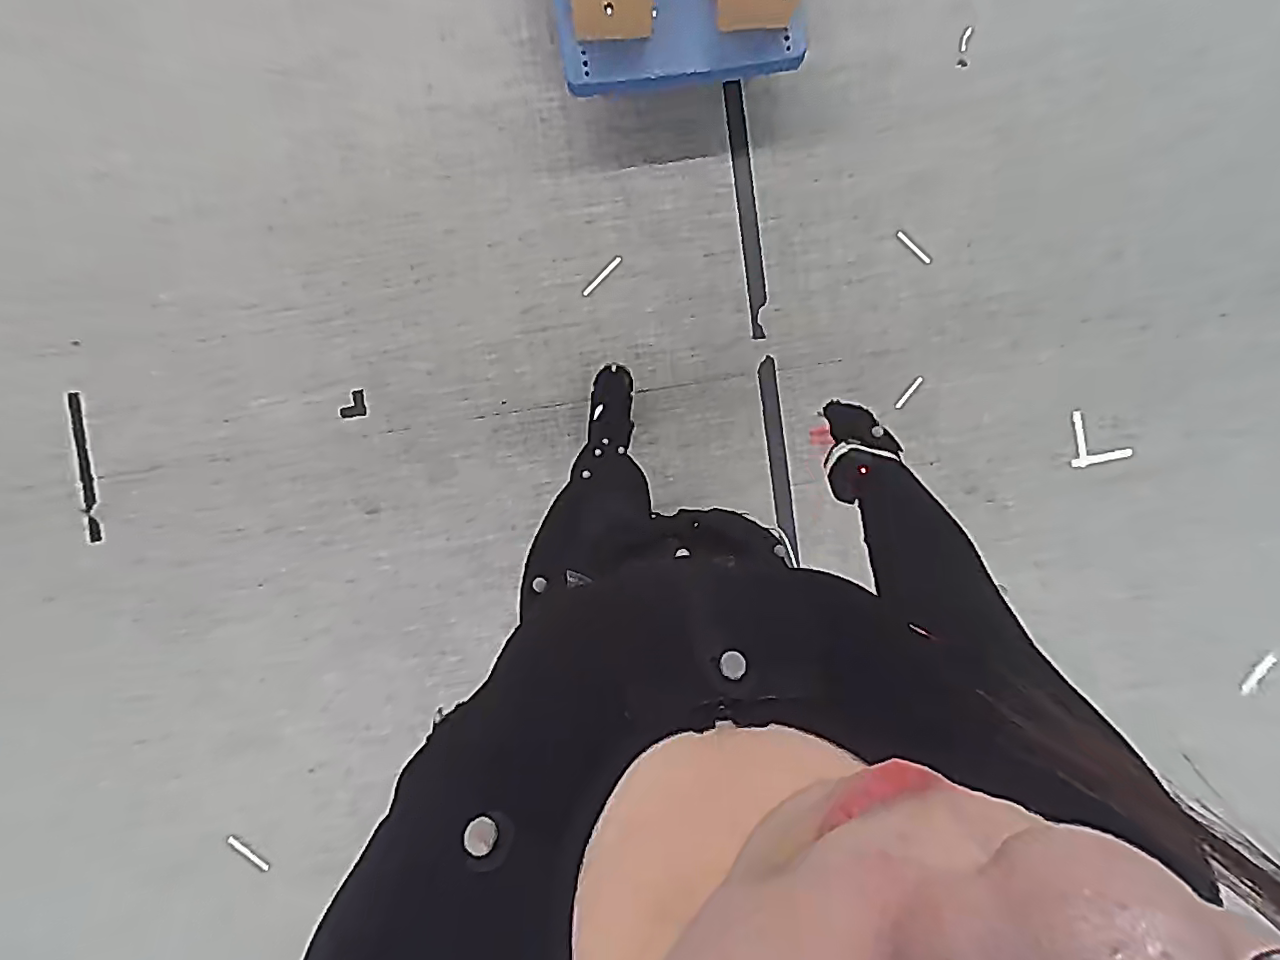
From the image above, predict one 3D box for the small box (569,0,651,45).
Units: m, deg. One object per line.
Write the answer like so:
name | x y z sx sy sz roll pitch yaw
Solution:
small box | -0.068 -1.091 1.174 0.179 0.176 0.168 -4 92 -1
